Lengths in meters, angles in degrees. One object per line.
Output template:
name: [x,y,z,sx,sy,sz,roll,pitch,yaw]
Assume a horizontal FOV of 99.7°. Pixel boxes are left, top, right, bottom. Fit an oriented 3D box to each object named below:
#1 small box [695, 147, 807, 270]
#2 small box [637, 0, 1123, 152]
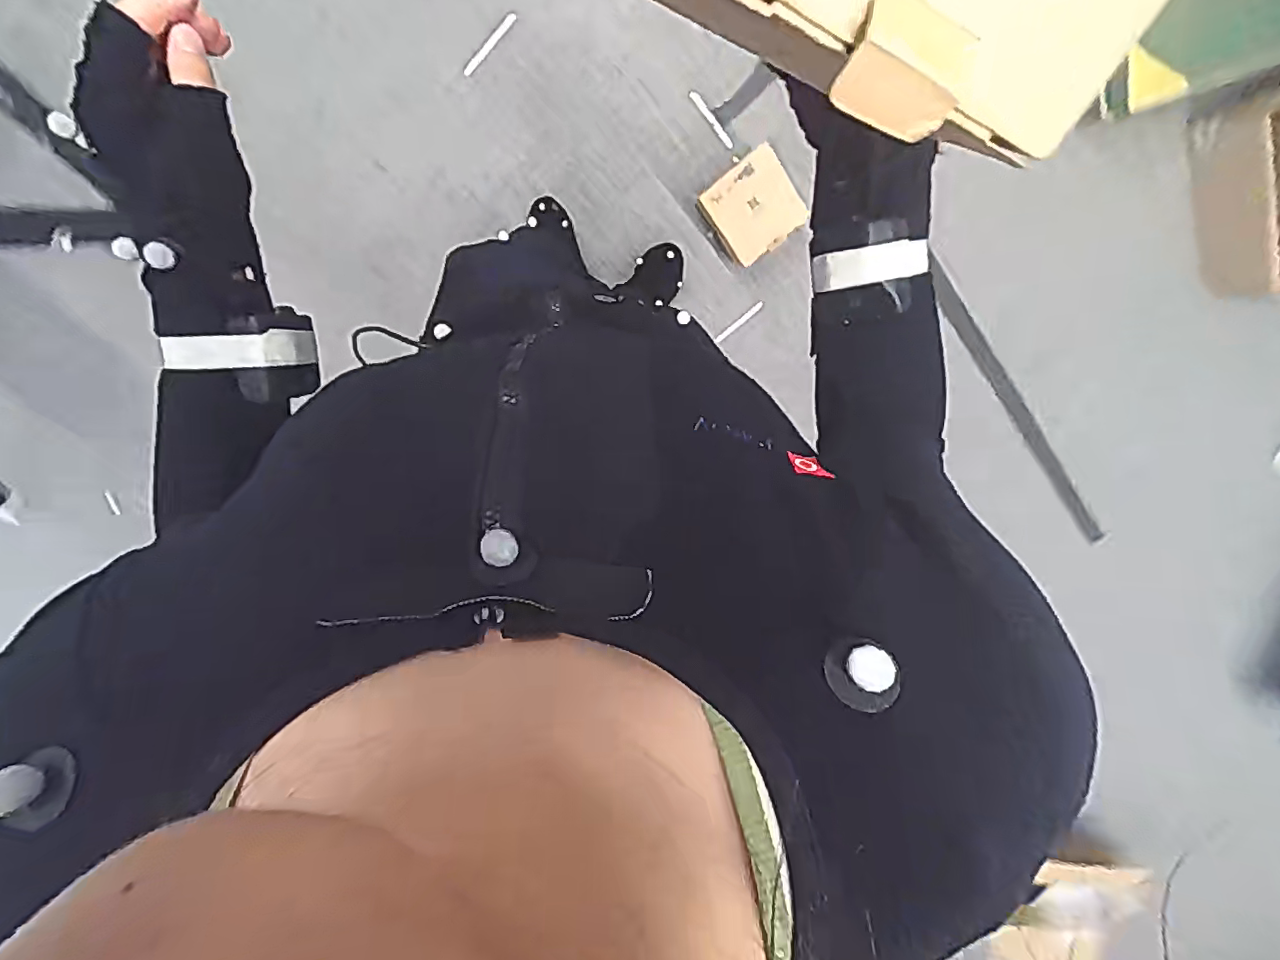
small box: [0.238,-0.597,1.196,0.168,0.176,0.179,-34,112,16]
small box: [0.092,-0.257,0.199,0.168,0.179,0.176,7,129,-25]
